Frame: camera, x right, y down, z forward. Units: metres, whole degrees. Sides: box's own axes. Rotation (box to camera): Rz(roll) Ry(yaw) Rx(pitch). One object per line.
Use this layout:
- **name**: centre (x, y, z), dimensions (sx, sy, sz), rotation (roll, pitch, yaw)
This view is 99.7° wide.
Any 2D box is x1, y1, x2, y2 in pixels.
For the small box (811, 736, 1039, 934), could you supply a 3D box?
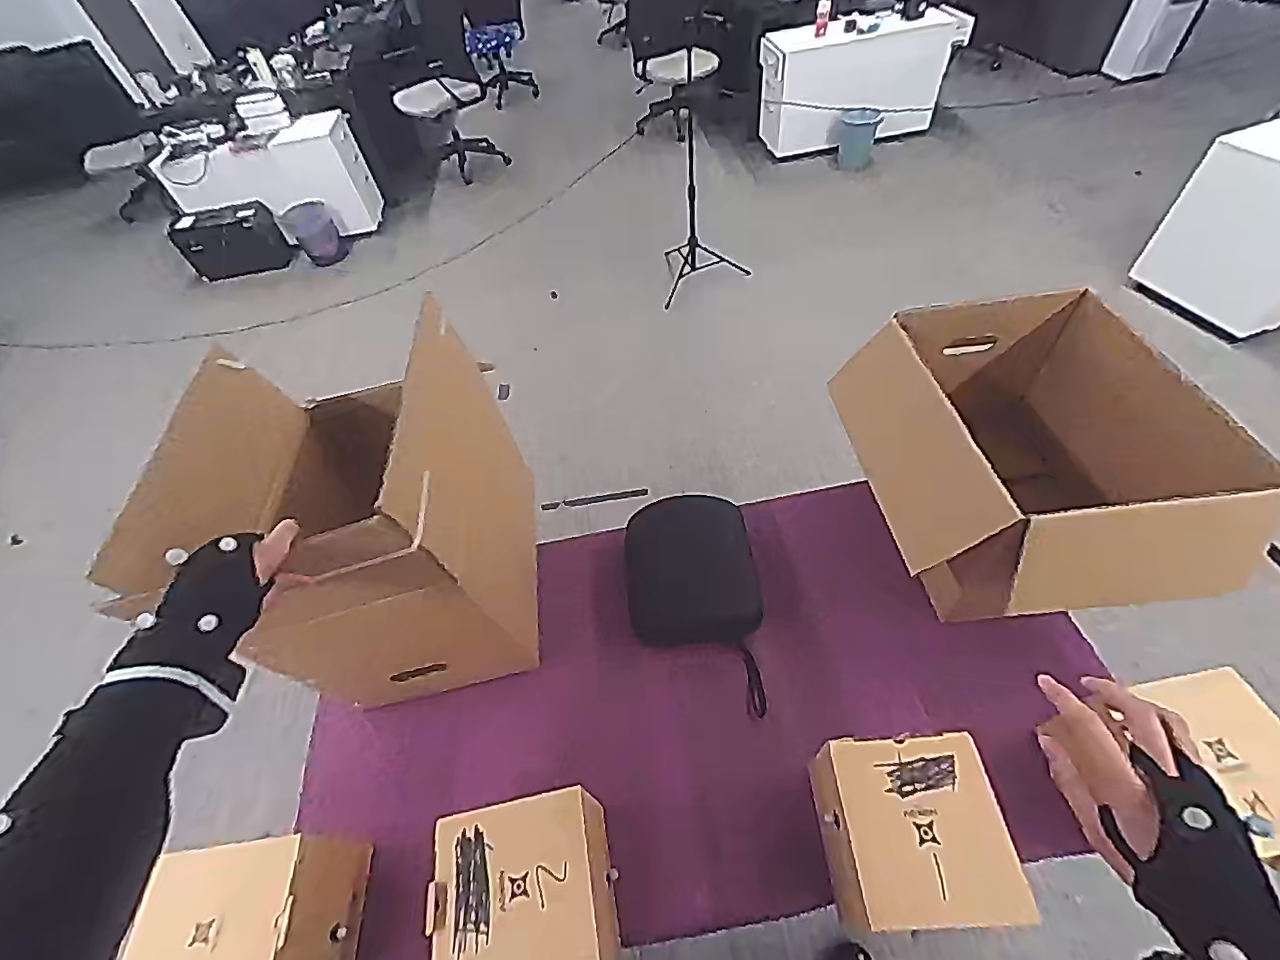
- **small box**: centre (0.312, 0.421, 0.642), dimensions (0.168, 0.176, 0.179), rotation (-6, 53, 4)

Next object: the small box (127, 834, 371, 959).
- **small box**: centre (-0.462, 0.544, 0.652), dimensions (0.179, 0.176, 0.168), rotation (-8, 51, 0)

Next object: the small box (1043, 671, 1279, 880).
- **small box**: centre (0.639, 0.355, 0.646), dimensions (0.168, 0.176, 0.179), rotation (-11, 51, 0)
